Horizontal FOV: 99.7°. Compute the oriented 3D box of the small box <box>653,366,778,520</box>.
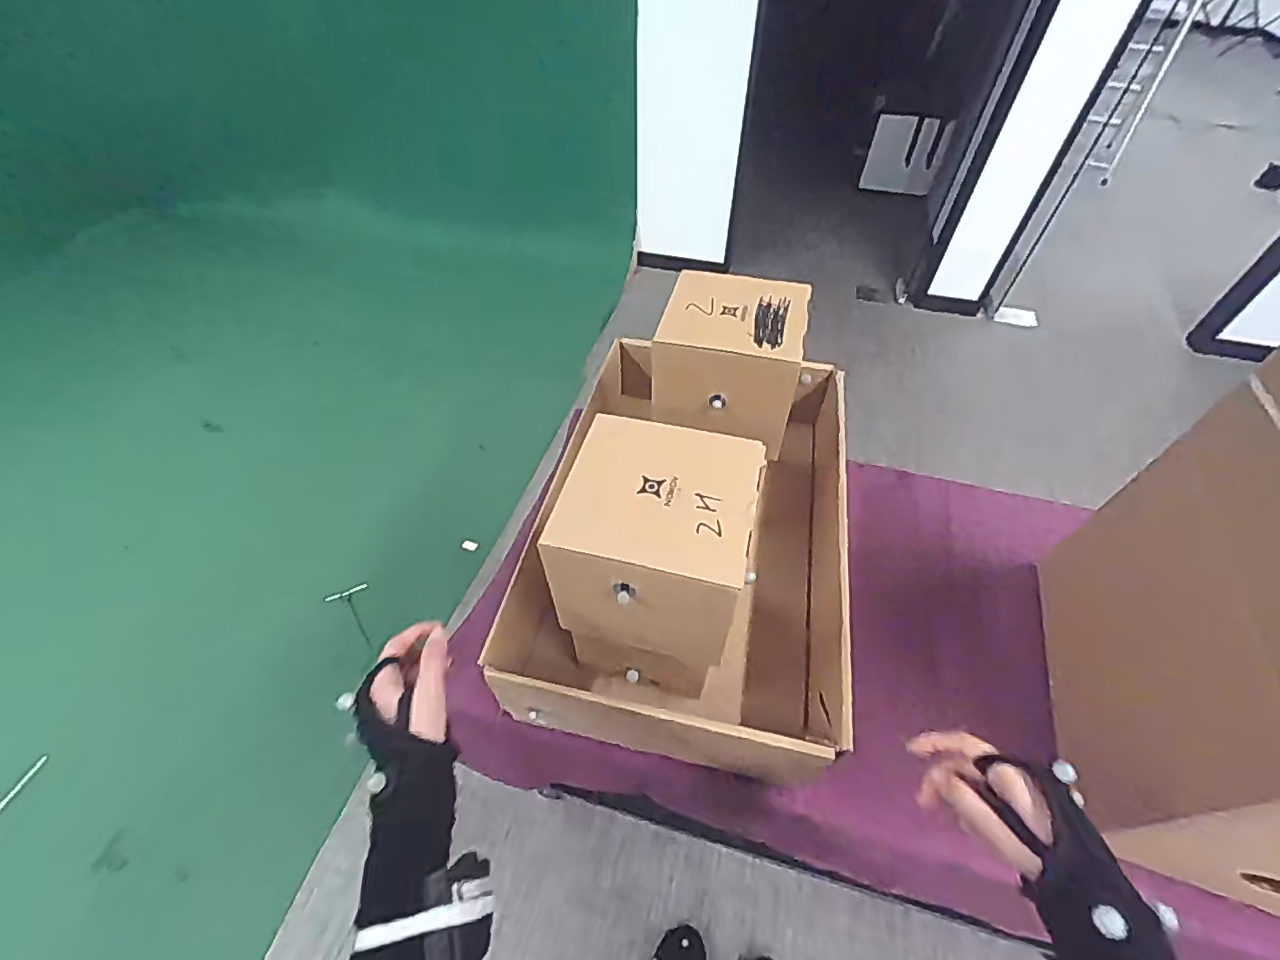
[{"bbox_3d":[0.114,-0.051,0.857,0.168,0.176,0.179,12,52,11],"label":"small box"}]

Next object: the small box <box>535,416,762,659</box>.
[{"bbox_3d":[0.016,0.062,0.552,0.179,0.176,0.168,12,53,10],"label":"small box"}]
